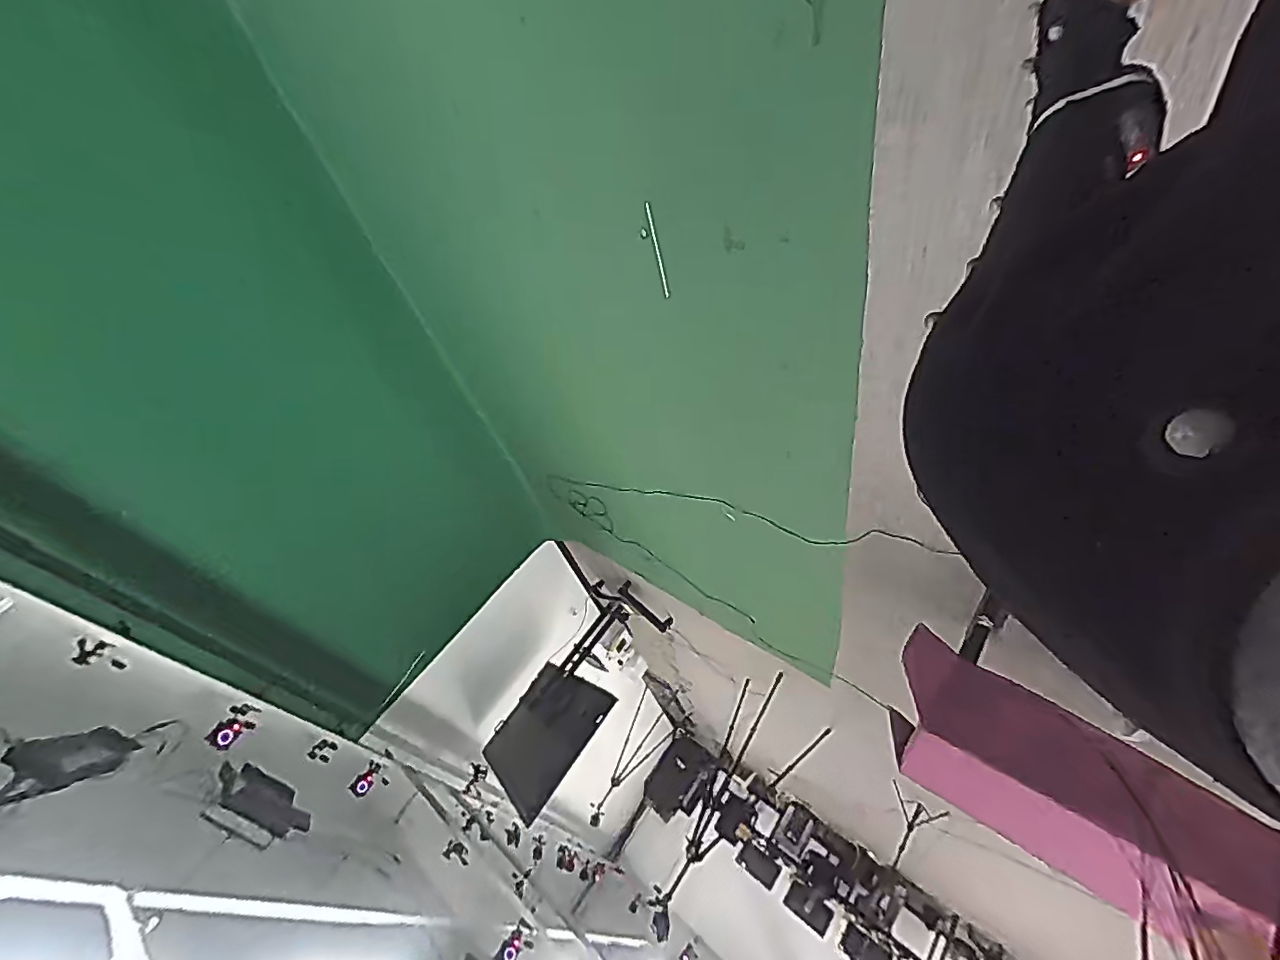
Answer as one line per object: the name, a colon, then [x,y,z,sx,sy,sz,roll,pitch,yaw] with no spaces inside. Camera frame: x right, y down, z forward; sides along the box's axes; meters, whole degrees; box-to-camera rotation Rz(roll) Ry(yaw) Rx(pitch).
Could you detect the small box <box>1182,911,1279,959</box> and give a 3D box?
small box: [1.572,1.281,1.424,0.168,0.176,0.179,22,150,39]
